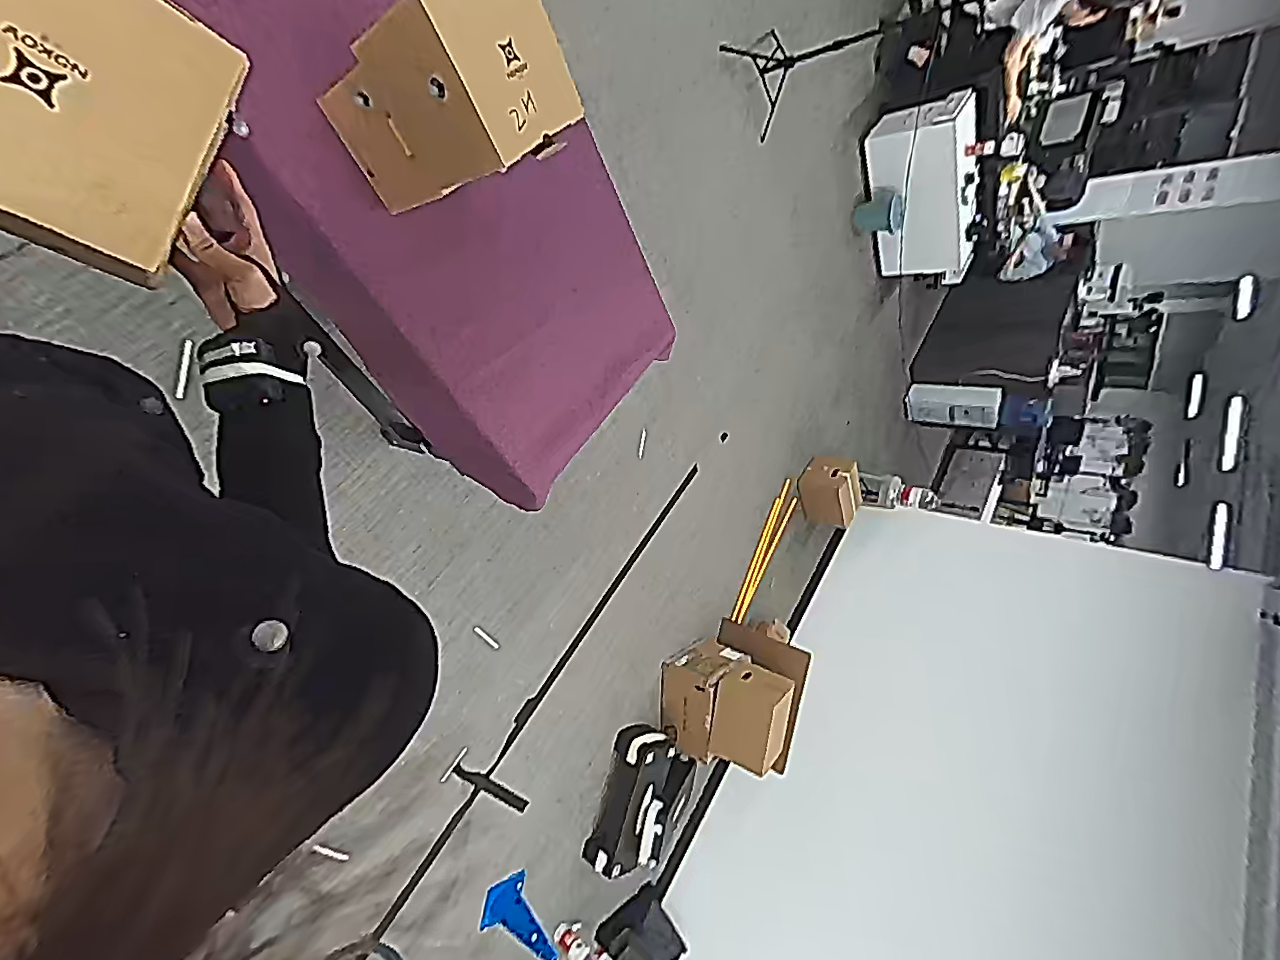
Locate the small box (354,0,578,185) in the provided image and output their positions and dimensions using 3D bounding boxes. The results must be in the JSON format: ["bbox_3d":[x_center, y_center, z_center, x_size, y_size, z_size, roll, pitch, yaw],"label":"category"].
[{"bbox_3d":[-0.218,-0.509,0.686,0.168,0.176,0.179,-52,134,-27],"label":"small box"}]

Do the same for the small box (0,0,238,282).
[{"bbox_3d":[-0.422,-0.262,0.386,0.168,0.176,0.179,23,84,-44],"label":"small box"}]
